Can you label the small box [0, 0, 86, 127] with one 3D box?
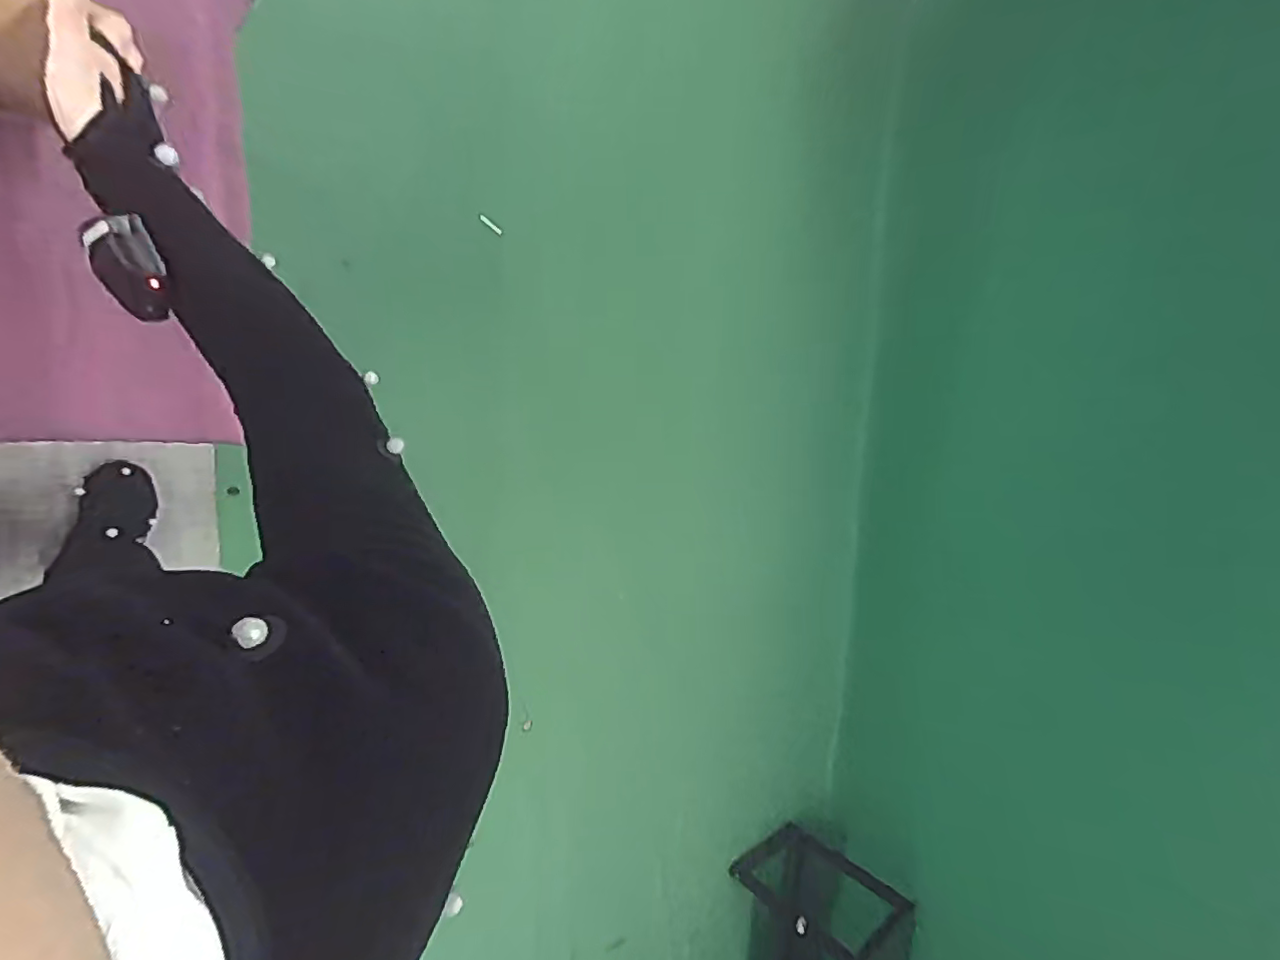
[{"bbox_3d":[-0.559,-0.418,0.406,0.168,0.176,0.179,-10,89,-36],"label":"small box"}]
